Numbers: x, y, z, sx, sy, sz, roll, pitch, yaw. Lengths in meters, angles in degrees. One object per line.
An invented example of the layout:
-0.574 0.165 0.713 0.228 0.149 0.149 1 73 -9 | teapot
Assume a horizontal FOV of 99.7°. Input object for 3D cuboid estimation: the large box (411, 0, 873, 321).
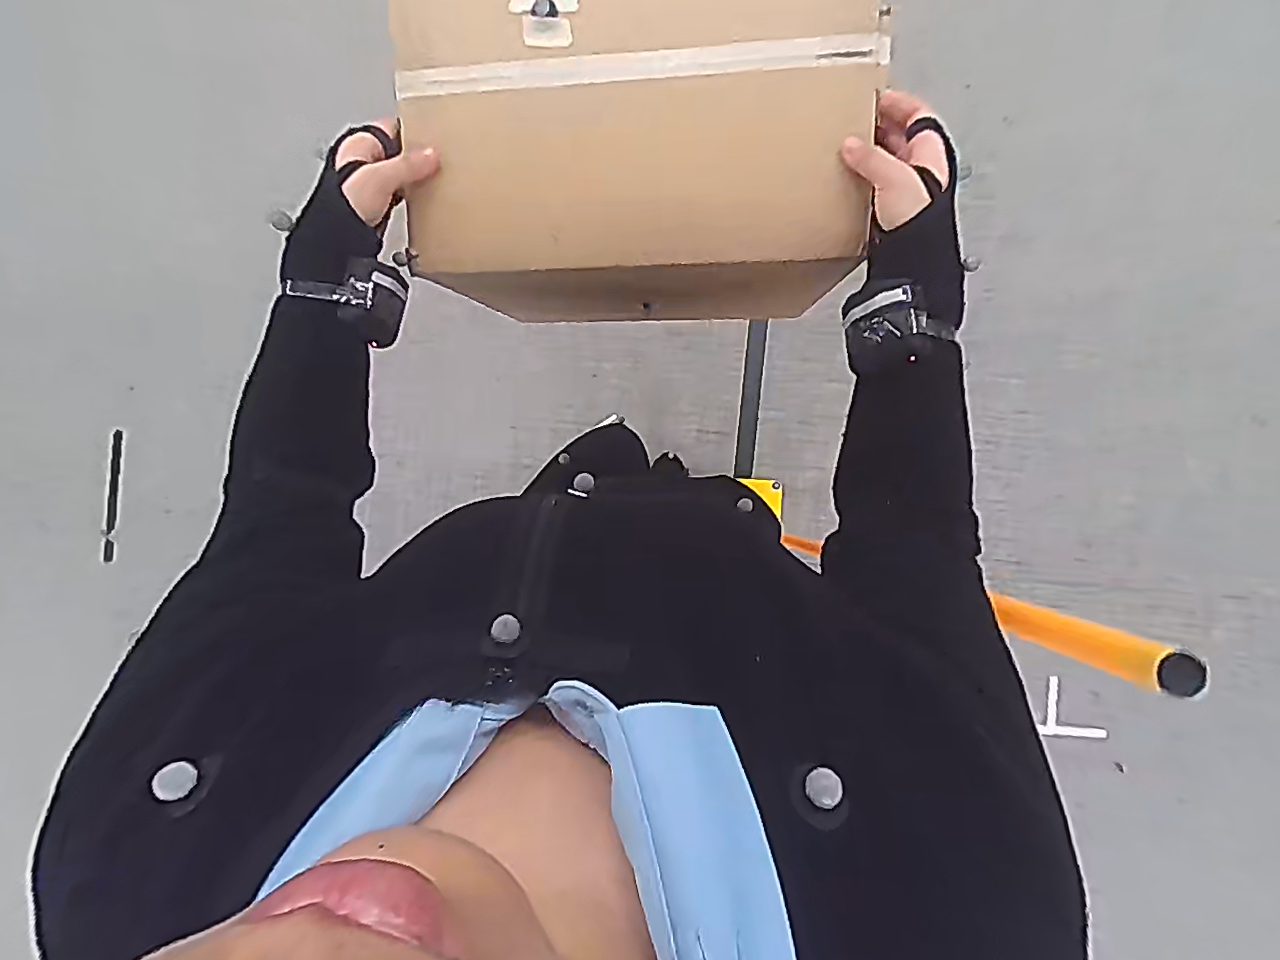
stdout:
0.013 -0.364 0.612 0.408 0.320 0.320 0 97 7 | large box
